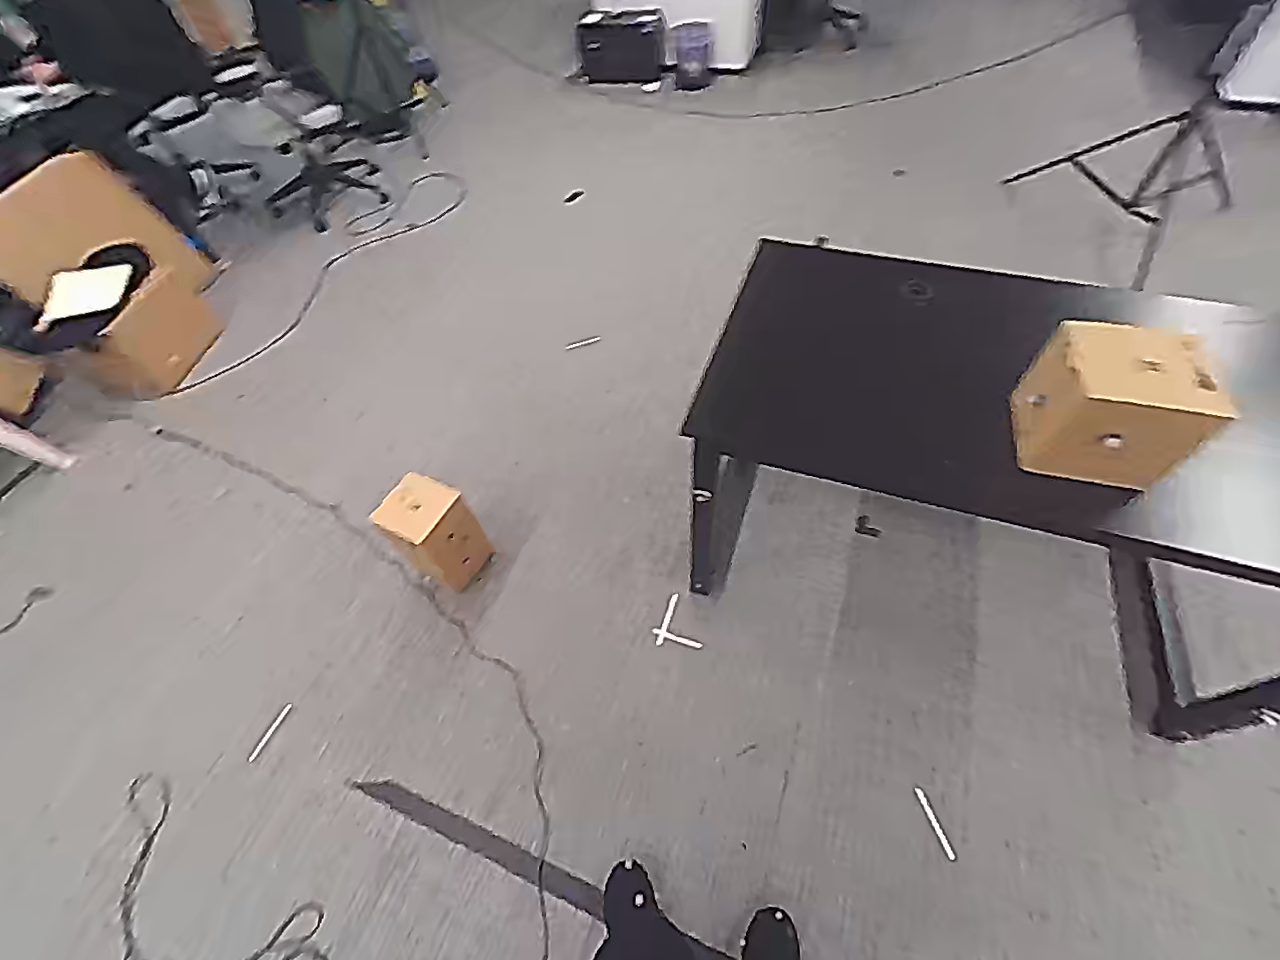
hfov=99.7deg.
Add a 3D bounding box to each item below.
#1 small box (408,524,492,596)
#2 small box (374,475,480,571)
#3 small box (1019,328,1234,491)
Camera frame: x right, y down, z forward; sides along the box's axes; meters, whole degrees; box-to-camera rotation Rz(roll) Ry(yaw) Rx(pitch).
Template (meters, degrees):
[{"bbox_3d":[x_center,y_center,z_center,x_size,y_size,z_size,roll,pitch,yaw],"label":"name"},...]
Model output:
[{"bbox_3d":[-0.558,0.209,1.592,0.168,0.176,0.179,23,60,20],"label":"small box"},{"bbox_3d":[-0.562,0.122,1.453,0.179,0.176,0.168,20,58,18],"label":"small box"},{"bbox_3d":[0.701,-0.103,0.813,0.179,0.176,0.168,11,56,13],"label":"small box"}]
